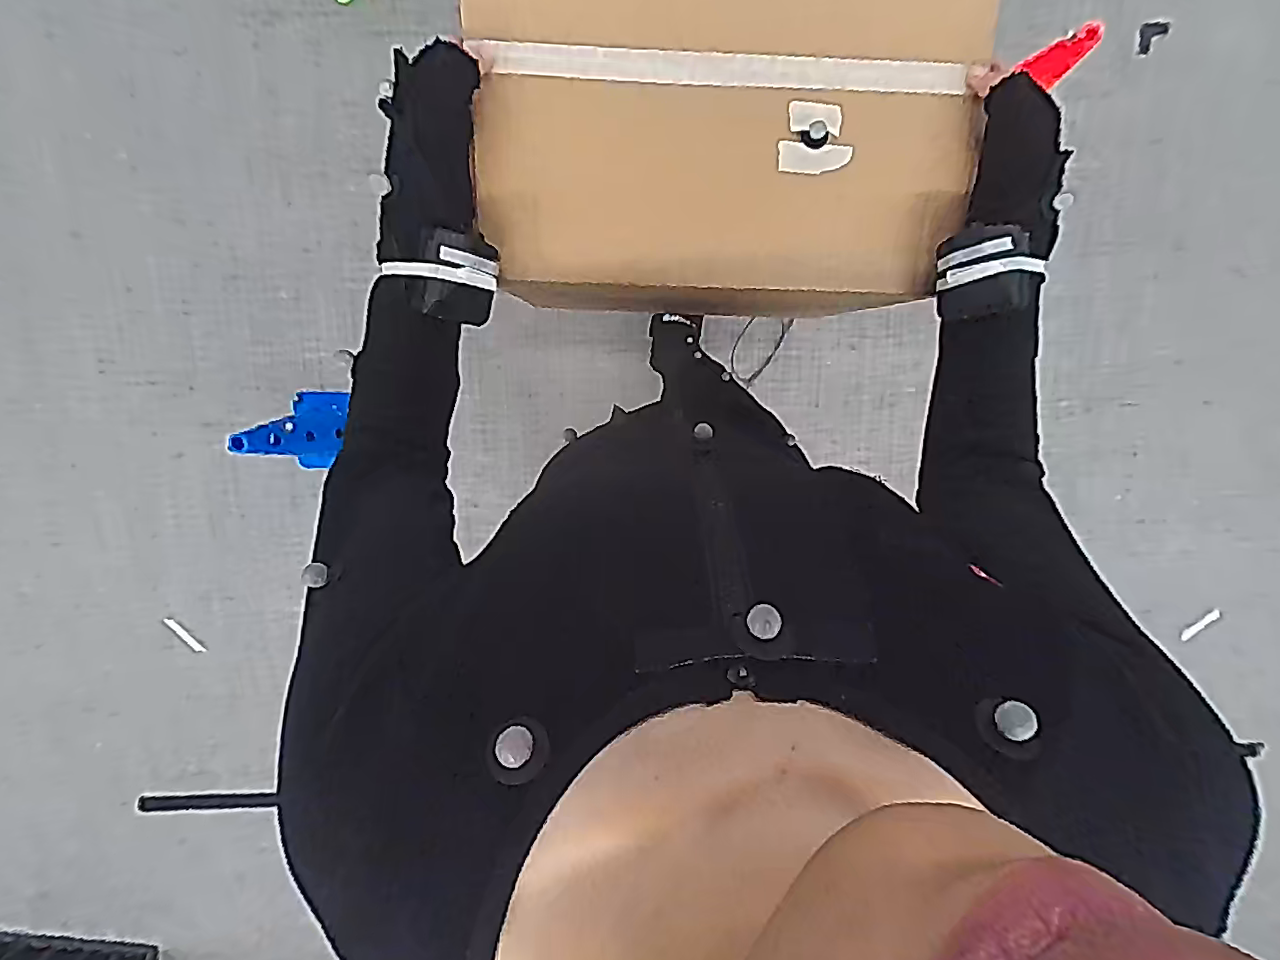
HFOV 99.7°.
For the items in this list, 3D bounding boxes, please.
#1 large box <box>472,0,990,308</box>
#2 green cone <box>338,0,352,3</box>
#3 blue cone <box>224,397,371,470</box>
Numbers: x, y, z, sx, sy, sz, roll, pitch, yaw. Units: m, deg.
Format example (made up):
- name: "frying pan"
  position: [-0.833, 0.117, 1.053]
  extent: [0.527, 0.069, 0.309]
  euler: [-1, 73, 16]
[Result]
- name: "large box"
  position: [0.062, -0.356, 0.566]
  extent: [0.408, 0.320, 0.320]
  euler: [1, 103, -4]
- name: "green cone"
  position: [-0.675, -1.202, 1.059]
  extent: [0.202, 0.368, 0.200]
  euler: [-39, 98, 6]
- name: "blue cone"
  position: [-0.802, -0.095, 1.257]
  extent: [0.192, 0.380, 0.193]
  euler: [2, 99, -1]
